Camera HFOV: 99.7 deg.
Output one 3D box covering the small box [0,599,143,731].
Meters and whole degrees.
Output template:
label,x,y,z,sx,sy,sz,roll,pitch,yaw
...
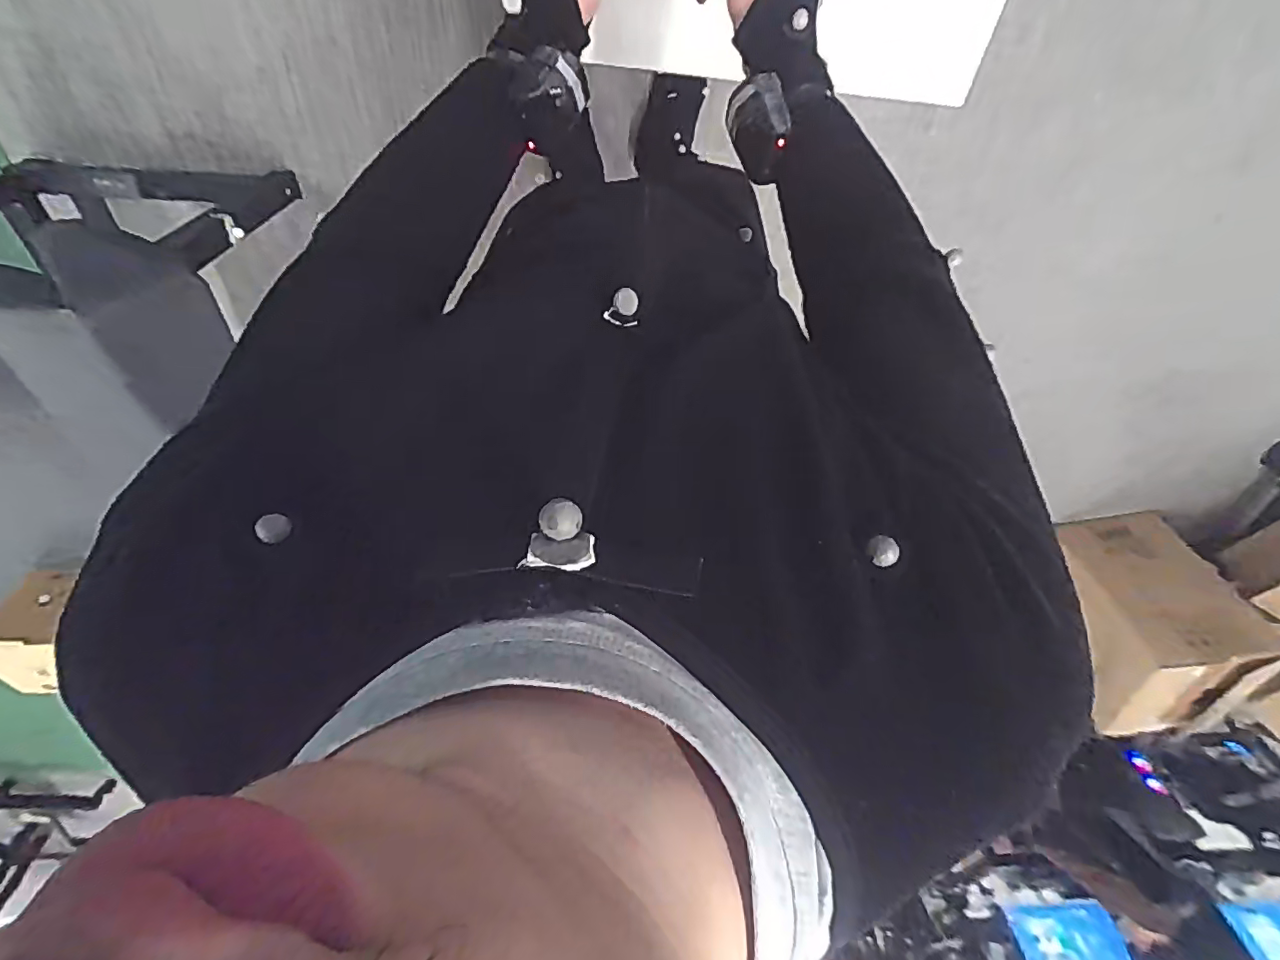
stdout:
label,x,y,z,sx,sy,sz,roll,pitch,yaw
small box,-1.077,0.332,0.984,0.168,0.176,0.179,1,131,-8
